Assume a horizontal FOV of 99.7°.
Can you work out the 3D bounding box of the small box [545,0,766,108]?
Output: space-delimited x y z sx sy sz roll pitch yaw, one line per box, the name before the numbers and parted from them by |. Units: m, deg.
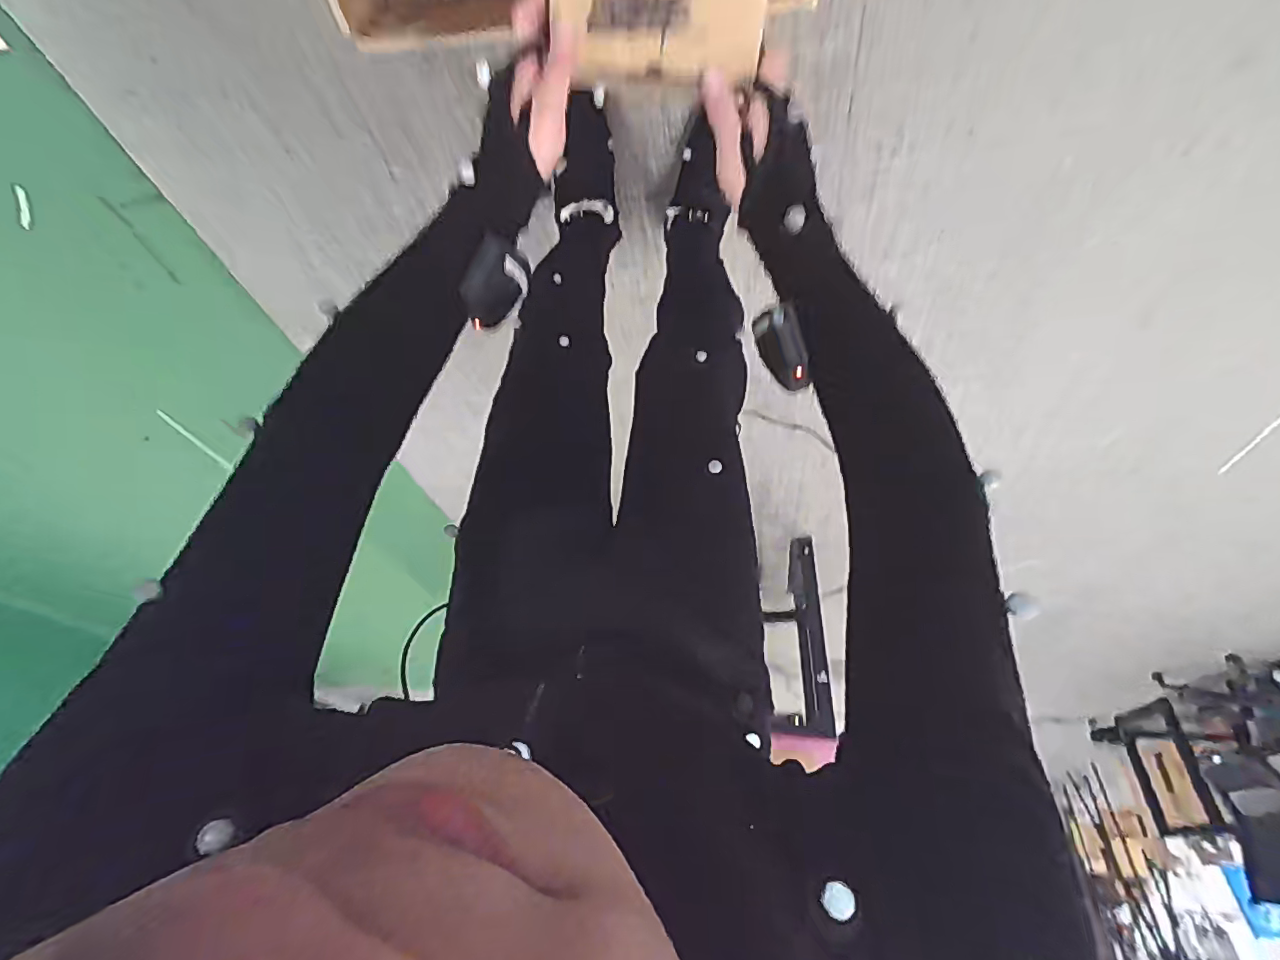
small box | 0.014 -0.423 0.448 0.168 0.176 0.179 3 121 -4
